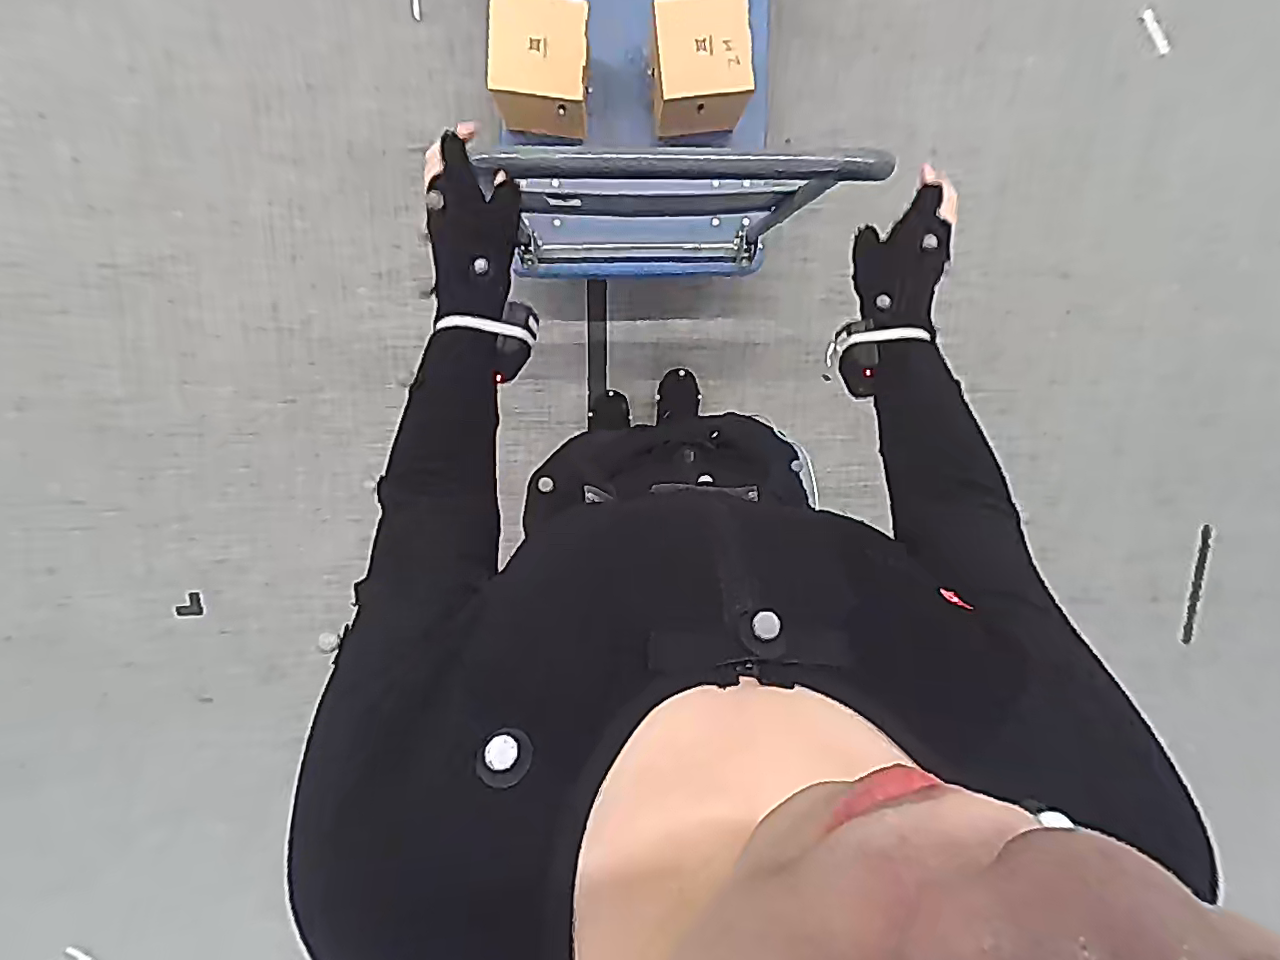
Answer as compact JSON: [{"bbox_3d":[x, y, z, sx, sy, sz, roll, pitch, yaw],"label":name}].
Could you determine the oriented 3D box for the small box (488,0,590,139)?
[{"bbox_3d":[-0.192,-0.800,1.063,0.179,0.176,0.168,4,101,-6],"label":"small box"}]

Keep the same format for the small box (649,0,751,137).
[{"bbox_3d":[0.113,-0.811,1.080,0.179,0.176,0.168,-7,102,-2],"label":"small box"}]
